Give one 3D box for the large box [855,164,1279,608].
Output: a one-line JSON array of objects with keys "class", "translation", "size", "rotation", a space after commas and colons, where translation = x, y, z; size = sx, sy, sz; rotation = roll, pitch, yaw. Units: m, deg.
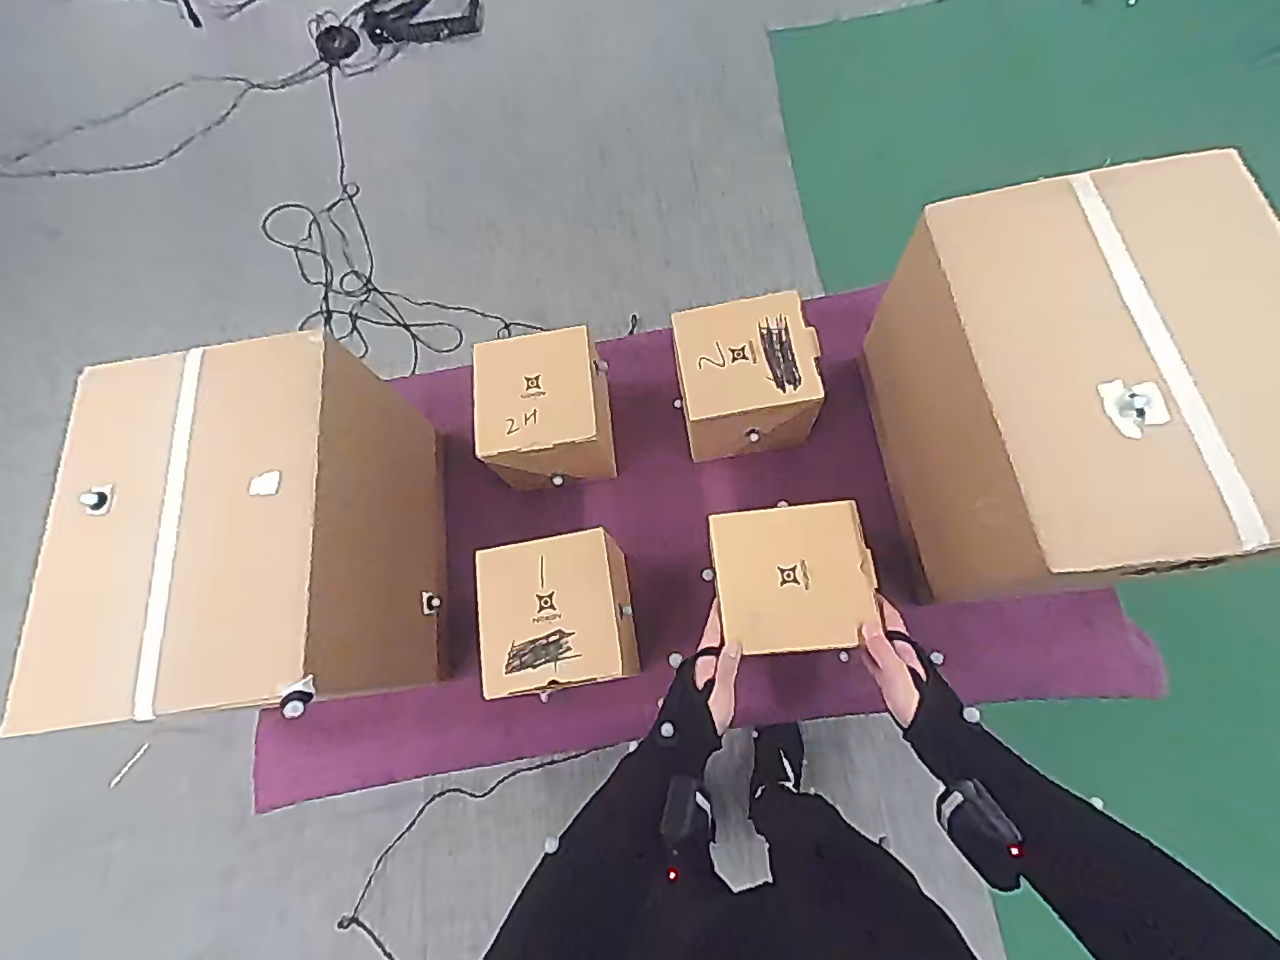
[{"class": "large box", "translation": [0.493, -0.077, 0.648], "size": [0.320, 0.320, 0.408], "rotation": [-8, 71, 6]}]
